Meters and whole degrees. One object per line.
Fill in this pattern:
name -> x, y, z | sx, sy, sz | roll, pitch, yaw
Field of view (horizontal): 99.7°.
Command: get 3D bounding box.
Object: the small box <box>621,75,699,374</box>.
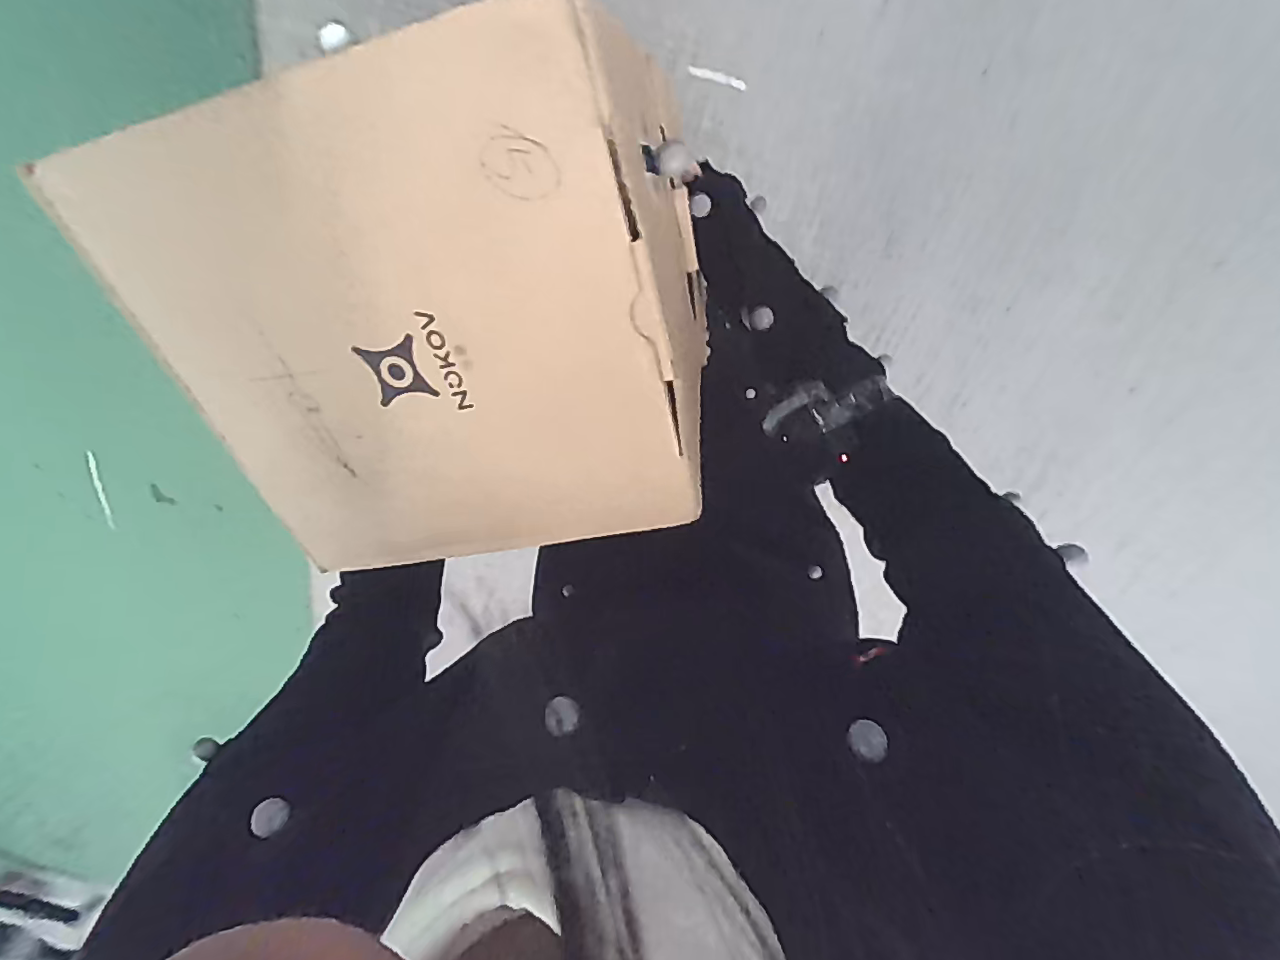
small box -> -0.058, -0.167, 0.389 | 0.179, 0.176, 0.168 | -9, 122, 11

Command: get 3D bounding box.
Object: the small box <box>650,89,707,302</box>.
small box -> -0.039, -0.258, 0.525 | 0.179, 0.176, 0.168 | -11, 123, 13

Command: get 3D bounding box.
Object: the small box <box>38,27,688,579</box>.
small box -> -0.077, -0.078, 0.255 | 0.179, 0.176, 0.168 | -9, 122, 14
